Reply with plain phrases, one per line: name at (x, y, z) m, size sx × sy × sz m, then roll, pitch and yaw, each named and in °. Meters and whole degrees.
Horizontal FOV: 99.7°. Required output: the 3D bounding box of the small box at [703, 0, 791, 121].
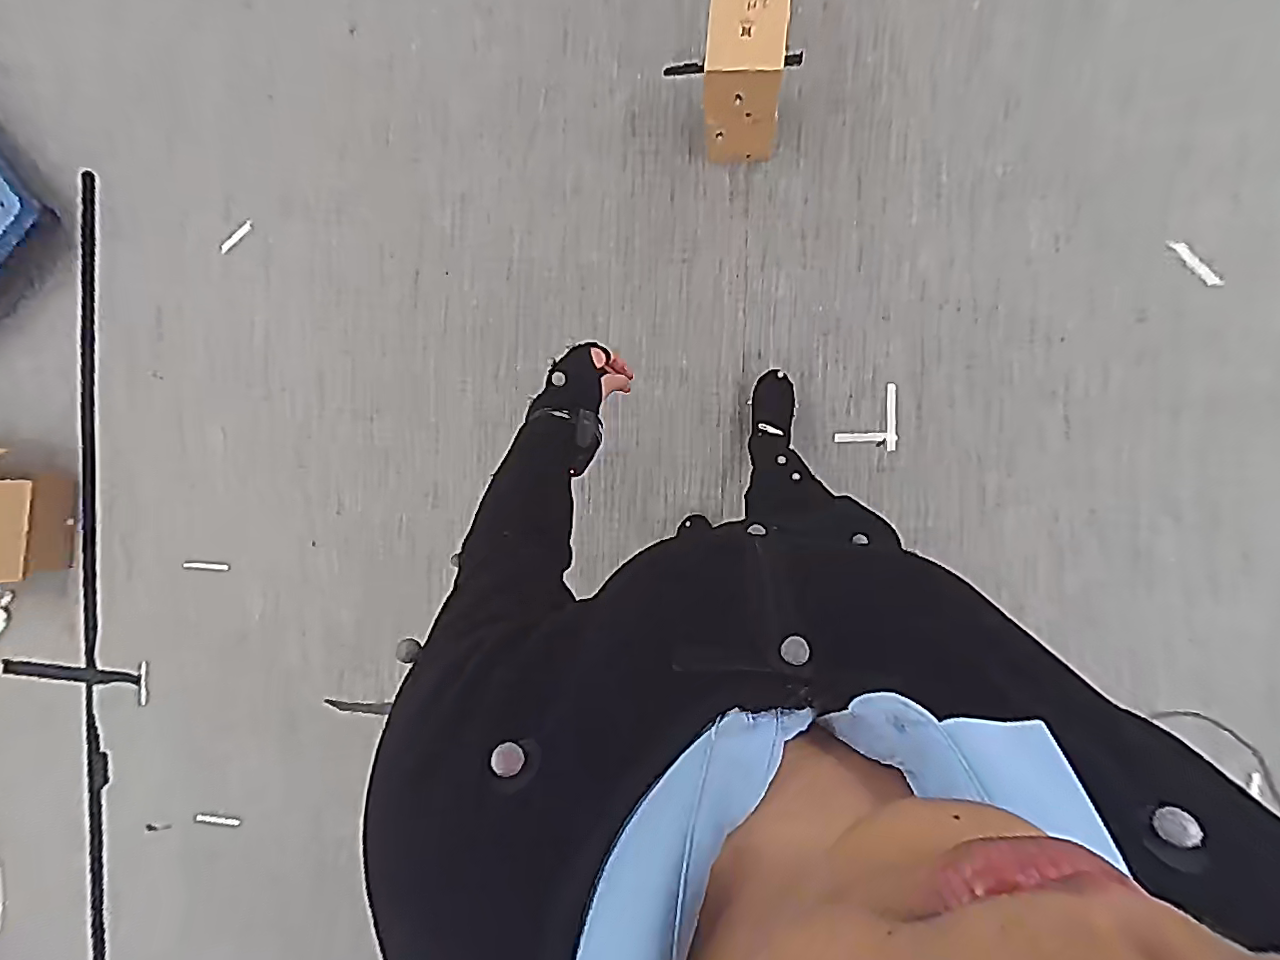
small box at (0.233, -0.934, 1.199) m, size 0.168 × 0.176 × 0.179 m, roll 6°, pitch 91°, yaw 7°
